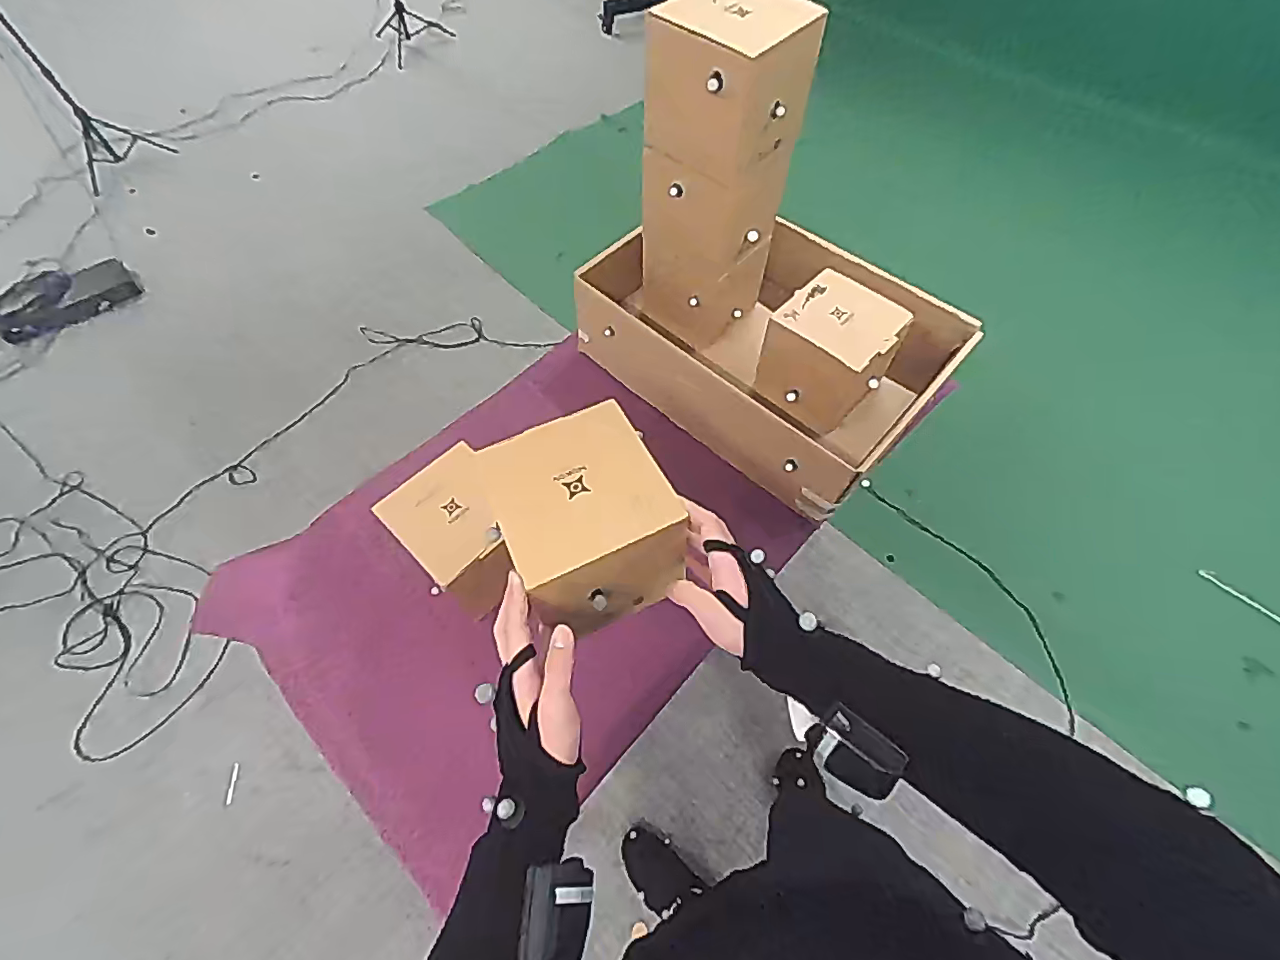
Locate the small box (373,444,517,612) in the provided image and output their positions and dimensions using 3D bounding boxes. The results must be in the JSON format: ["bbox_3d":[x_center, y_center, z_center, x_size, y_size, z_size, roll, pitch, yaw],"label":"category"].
[{"bbox_3d":[-0.266,0.084,0.842,0.179,0.176,0.168,39,67,21],"label":"small box"}]

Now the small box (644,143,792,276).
[{"bbox_3d":[0.120,-0.481,0.912,0.179,0.176,0.168,39,69,18],"label":"small box"}]

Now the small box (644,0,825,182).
[{"bbox_3d":[0.123,-0.558,0.766,0.179,0.176,0.168,39,68,19],"label":"small box"}]

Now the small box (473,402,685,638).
[{"bbox_3d":[-0.059,0.053,0.596,0.168,0.176,0.179,-23,56,-12],"label":"small box"}]
